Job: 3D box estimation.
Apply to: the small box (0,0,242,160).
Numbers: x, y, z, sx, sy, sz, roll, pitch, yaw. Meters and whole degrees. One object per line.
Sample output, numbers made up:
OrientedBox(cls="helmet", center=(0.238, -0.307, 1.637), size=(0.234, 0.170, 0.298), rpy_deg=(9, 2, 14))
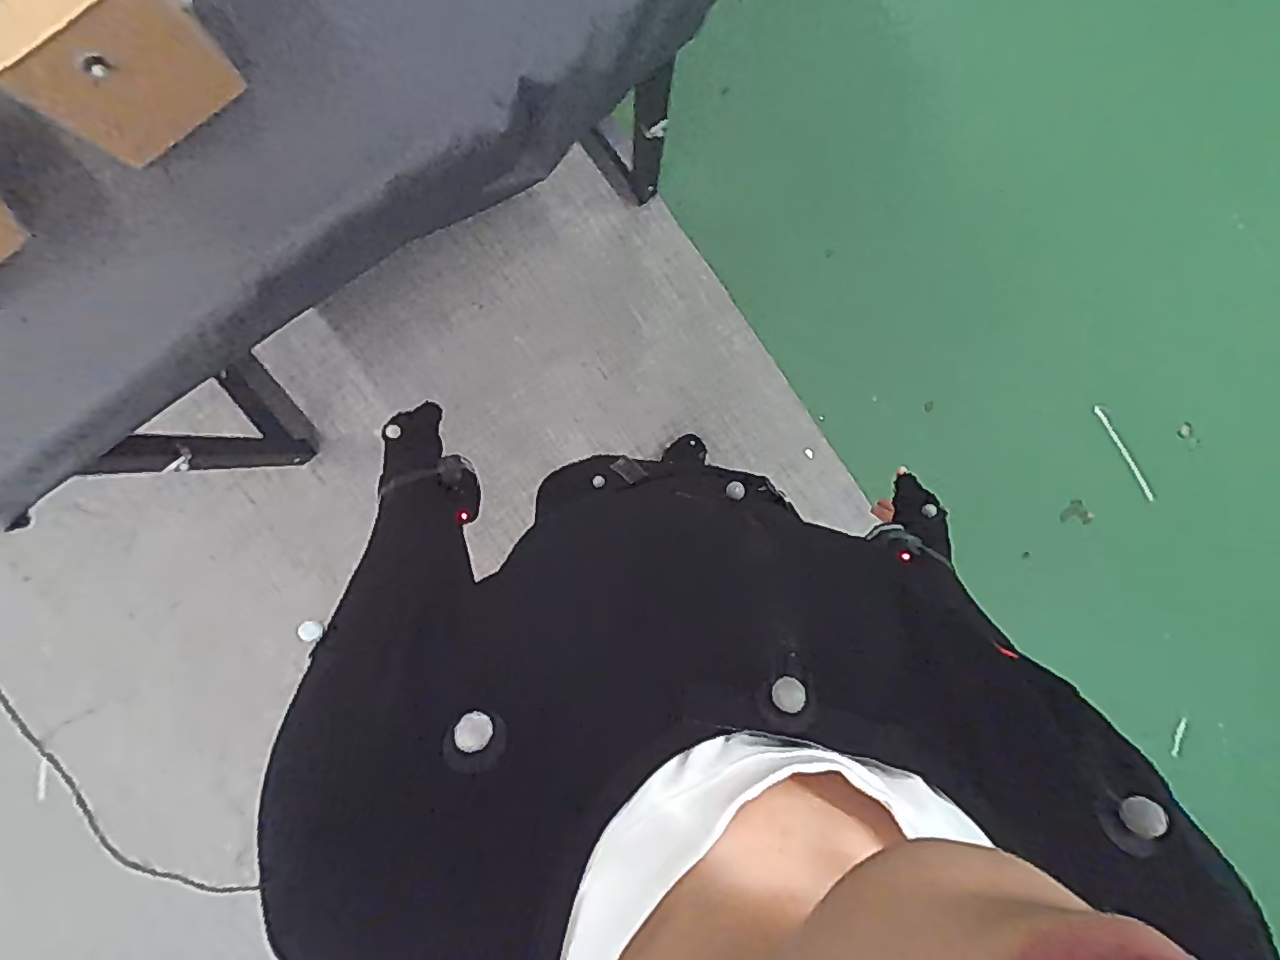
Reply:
OrientedBox(cls="small box", center=(-0.608, -0.507, 0.602), size=(0.179, 0.176, 0.168), rpy_deg=(-38, 94, 0))
